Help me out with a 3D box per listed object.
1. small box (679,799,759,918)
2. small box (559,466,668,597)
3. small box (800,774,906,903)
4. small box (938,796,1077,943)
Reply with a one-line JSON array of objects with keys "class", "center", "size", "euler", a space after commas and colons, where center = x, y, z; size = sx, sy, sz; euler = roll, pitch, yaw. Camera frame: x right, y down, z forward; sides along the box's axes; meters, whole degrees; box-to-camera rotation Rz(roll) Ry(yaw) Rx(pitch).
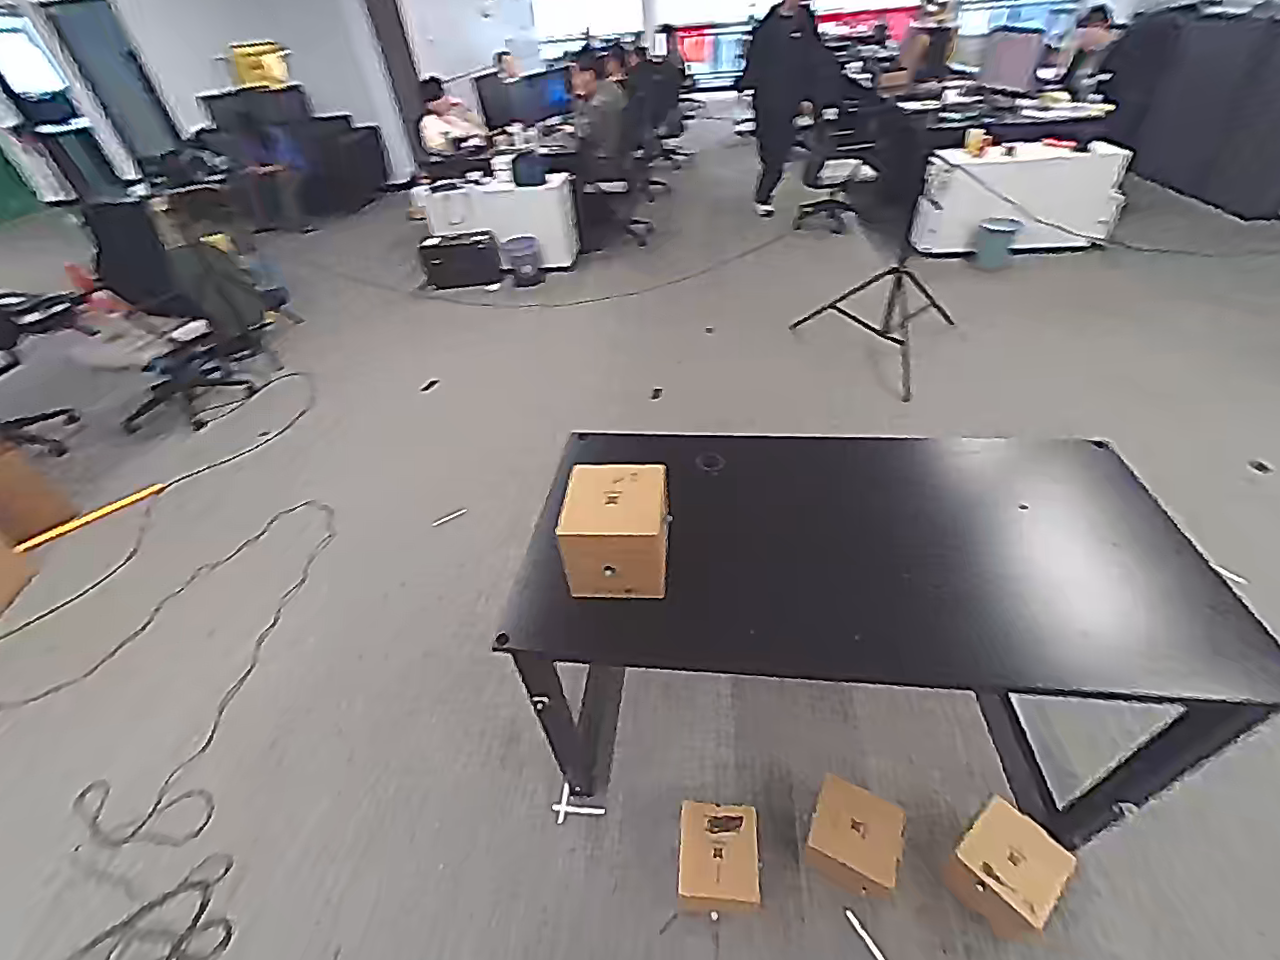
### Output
[{"class": "small box", "center": [0.174, 0.844, 1.206], "size": [0.168, 0.176, 0.179], "euler": [1, 43, 8]}, {"class": "small box", "center": [-0.038, 0.093, 0.974], "size": [0.168, 0.176, 0.179], "euler": [0, 41, 6]}, {"class": "small box", "center": [0.473, 0.808, 1.213], "size": [0.179, 0.176, 0.168], "euler": [15, 45, 24]}, {"class": "small box", "center": [0.769, 0.827, 1.151], "size": [0.179, 0.176, 0.168], "euler": [-31, 47, -26]}]
